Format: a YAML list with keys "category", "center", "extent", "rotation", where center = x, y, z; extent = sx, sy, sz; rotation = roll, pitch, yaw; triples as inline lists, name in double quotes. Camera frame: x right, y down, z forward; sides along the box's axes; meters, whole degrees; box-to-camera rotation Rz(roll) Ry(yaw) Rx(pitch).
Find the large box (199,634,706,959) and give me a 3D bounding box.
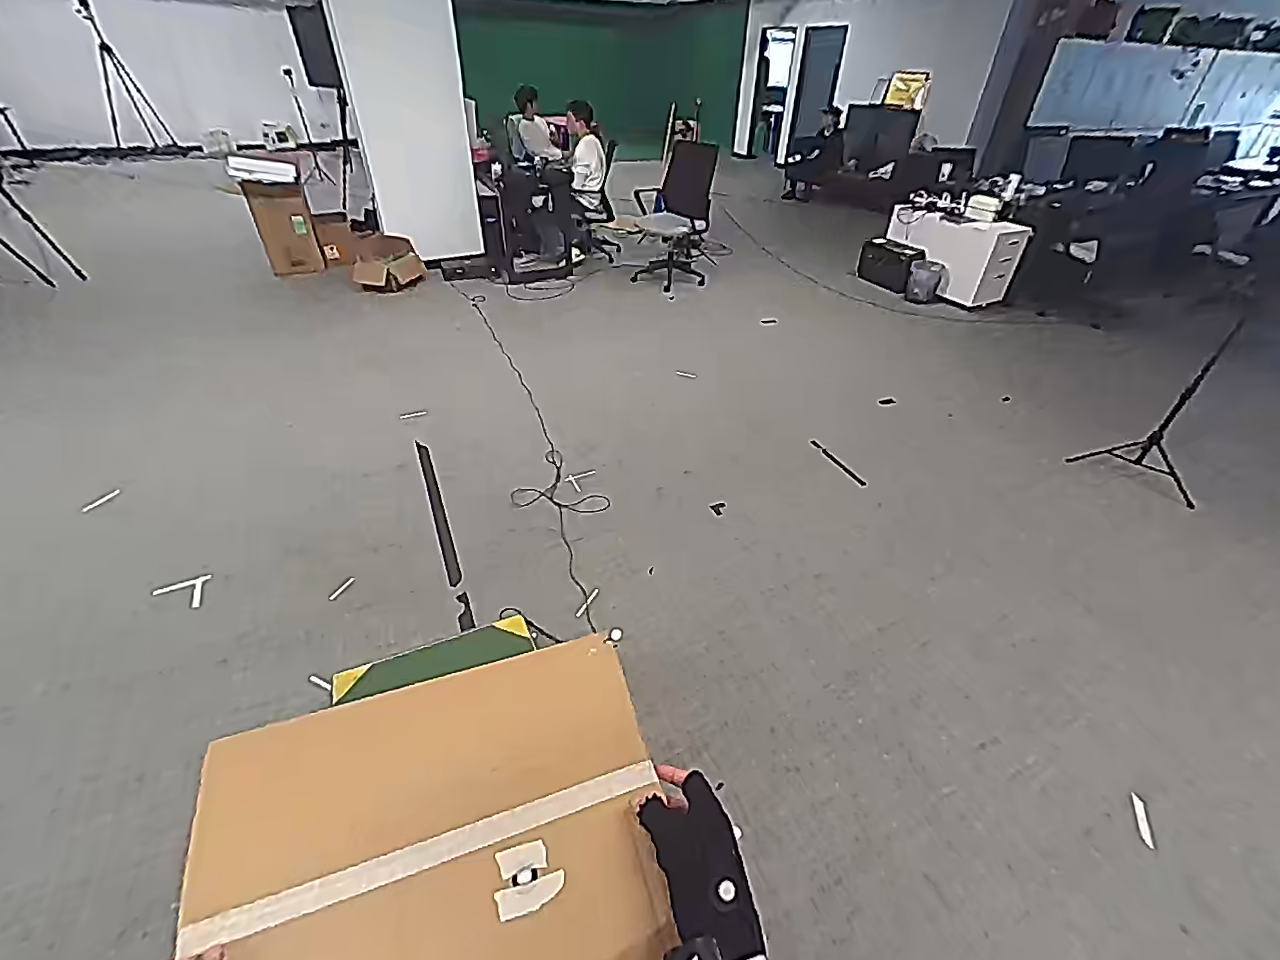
- category: "large box"
  center: [-0.189, 0.432, 0.612]
  extent: [0.408, 0.320, 0.320]
  rotation: [-11, 51, -16]
